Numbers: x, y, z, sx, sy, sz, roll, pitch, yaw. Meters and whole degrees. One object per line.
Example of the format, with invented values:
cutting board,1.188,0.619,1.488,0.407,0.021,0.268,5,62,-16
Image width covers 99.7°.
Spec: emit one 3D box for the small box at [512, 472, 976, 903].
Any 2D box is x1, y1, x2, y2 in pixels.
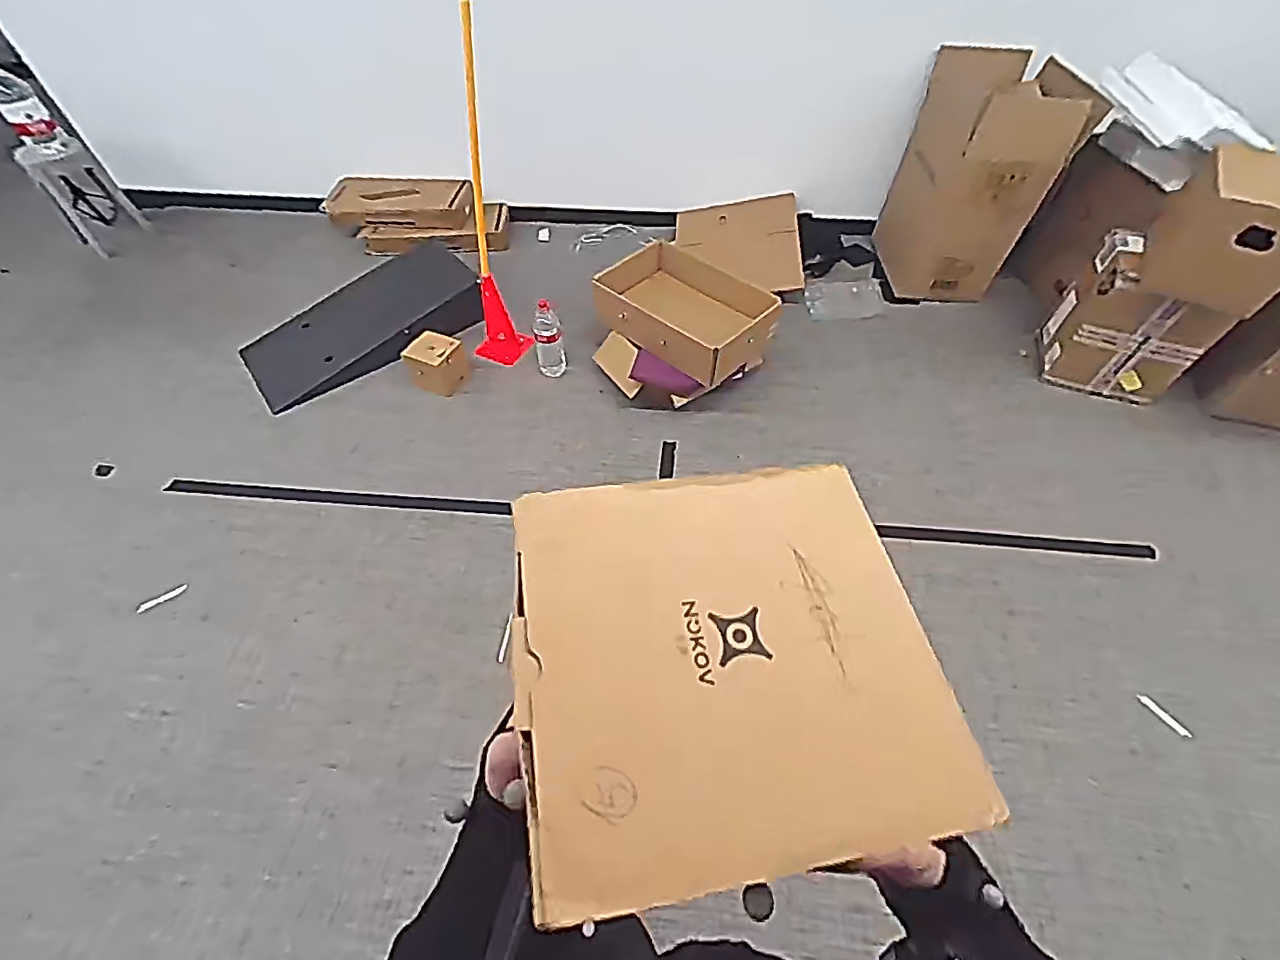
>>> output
small box,0.029,0.116,0.306,0.179,0.176,0.168,-6,57,-11
